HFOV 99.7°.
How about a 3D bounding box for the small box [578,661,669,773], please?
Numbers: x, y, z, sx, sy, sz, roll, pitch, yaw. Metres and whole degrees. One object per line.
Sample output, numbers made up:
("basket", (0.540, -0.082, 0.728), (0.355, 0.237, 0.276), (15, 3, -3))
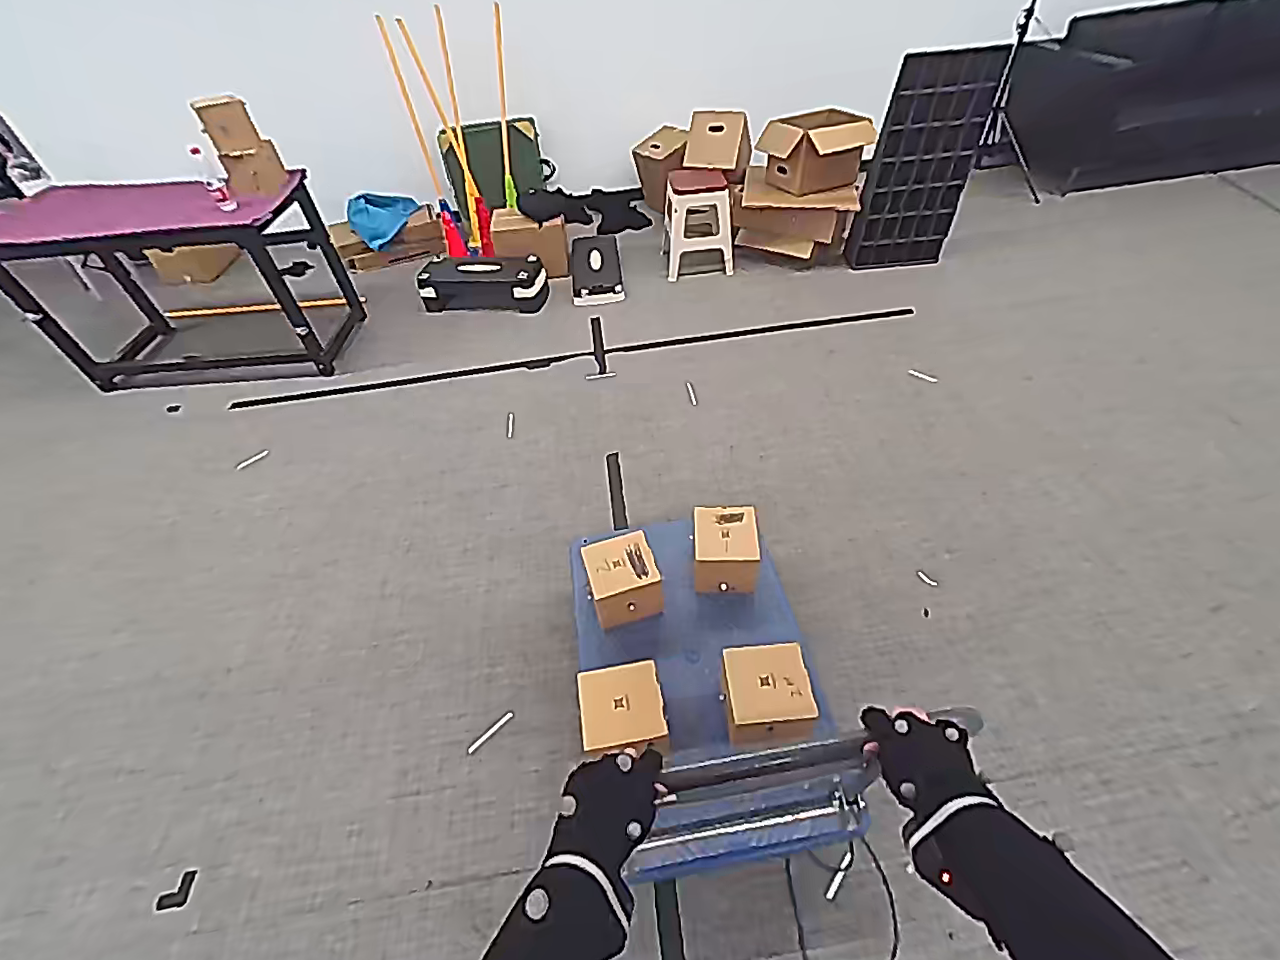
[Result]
("small box", (-0.035, 0.529, 1.201), (0.179, 0.176, 0.168), (-9, 47, -5))

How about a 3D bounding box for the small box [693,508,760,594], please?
("small box", (0.232, 0.194, 1.483), (0.168, 0.176, 0.179), (-1, 49, 4))

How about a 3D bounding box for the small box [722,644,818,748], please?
("small box", (0.280, 0.487, 1.211), (0.179, 0.176, 0.168), (-5, 48, 0))
